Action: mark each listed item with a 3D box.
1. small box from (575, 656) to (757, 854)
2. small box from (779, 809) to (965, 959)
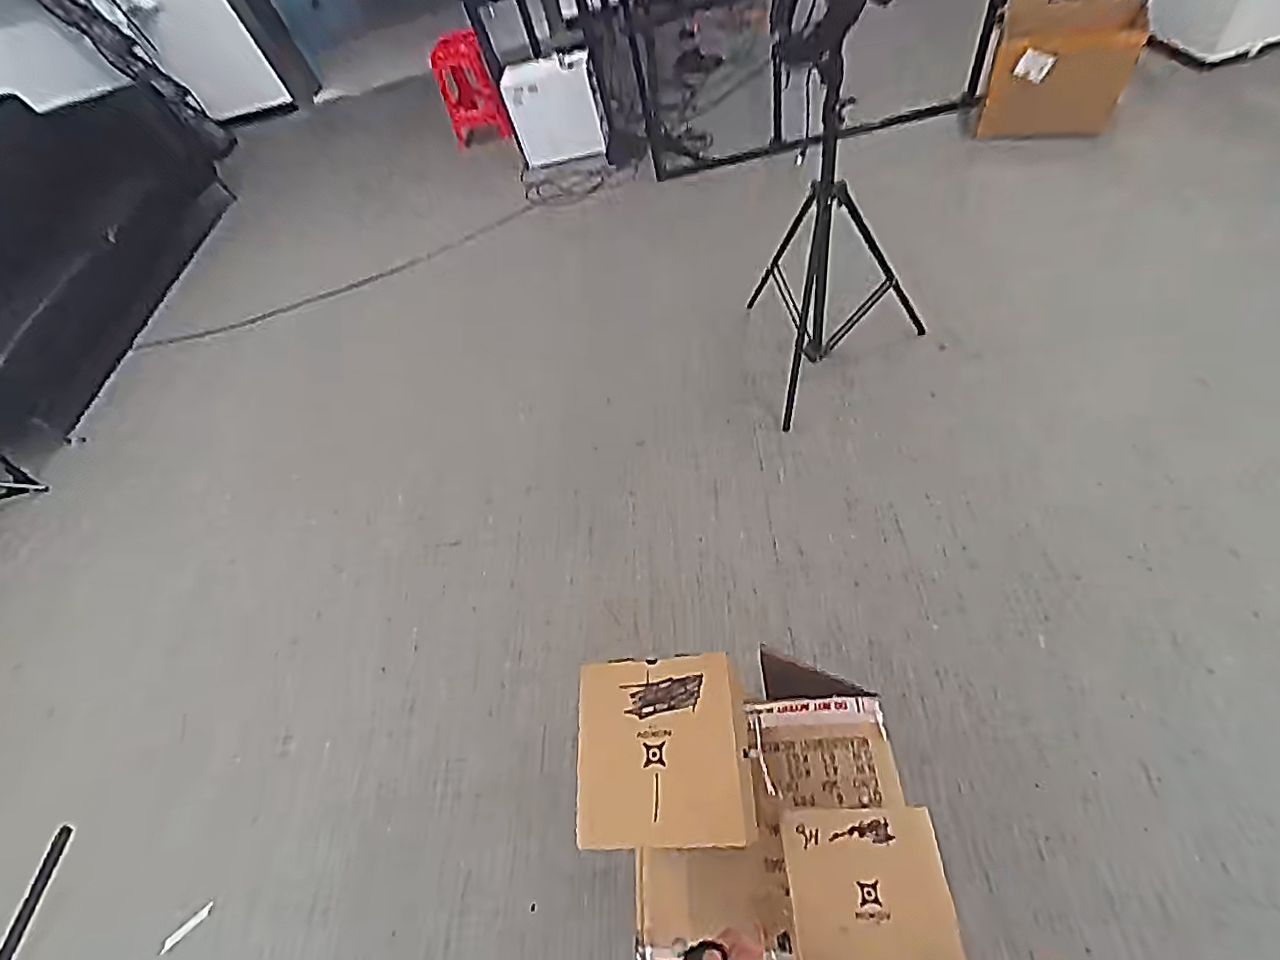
[{"bbox_3d":[0.035,0.311,0.608,0.168,0.176,0.179,-9,58,11],"label":"small box"},{"bbox_3d":[0.259,0.491,0.634,0.168,0.176,0.179,-7,58,9],"label":"small box"}]
